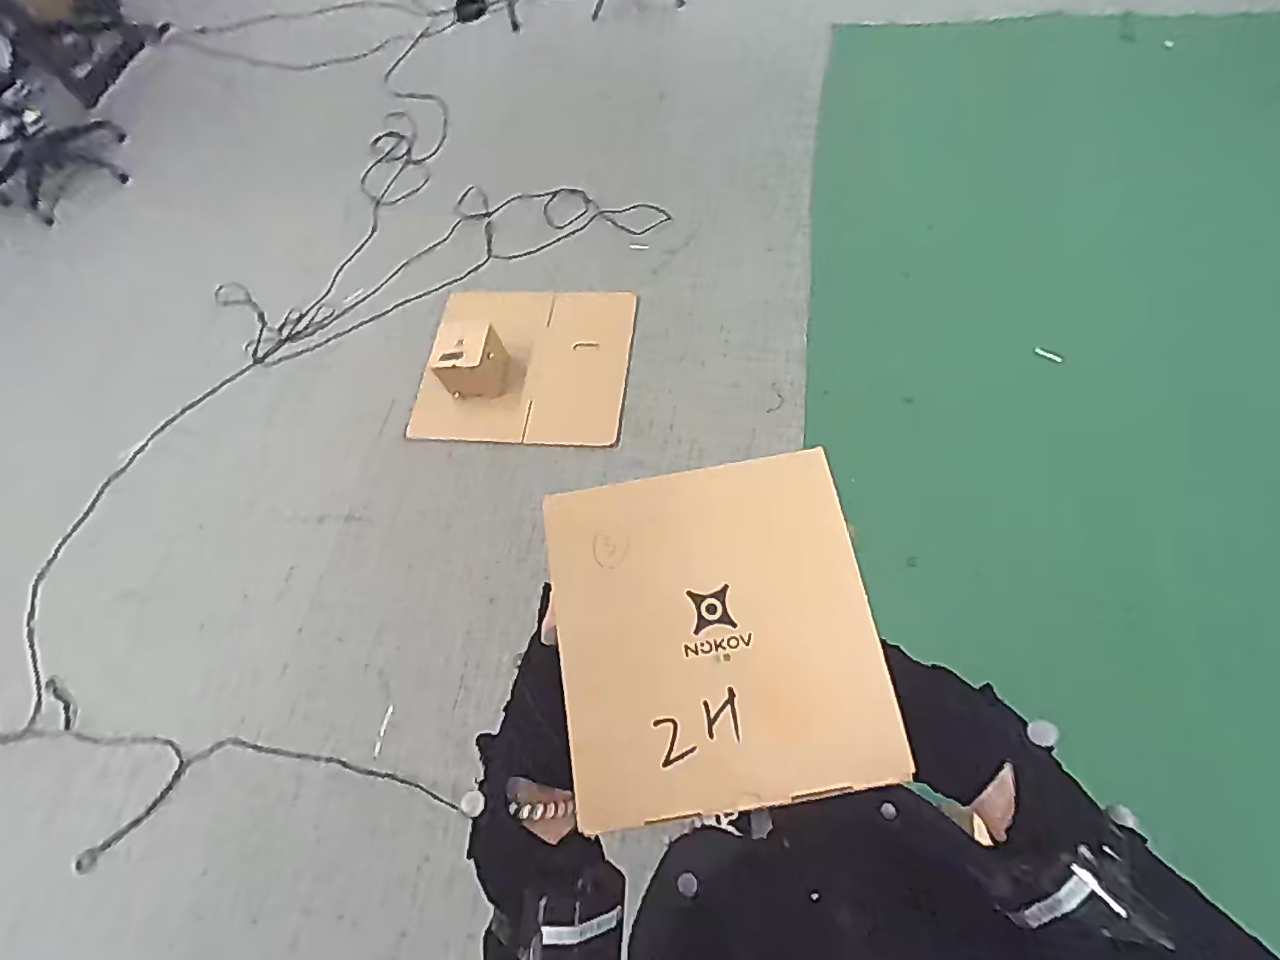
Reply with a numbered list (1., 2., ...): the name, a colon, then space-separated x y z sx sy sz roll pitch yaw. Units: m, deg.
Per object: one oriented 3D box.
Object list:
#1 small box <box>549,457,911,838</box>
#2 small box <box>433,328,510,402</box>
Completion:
1. small box: 0.043 0.105 0.363 0.168 0.176 0.179 -10 72 0
2. small box: -0.531 -0.363 1.732 0.168 0.176 0.179 2 64 8
